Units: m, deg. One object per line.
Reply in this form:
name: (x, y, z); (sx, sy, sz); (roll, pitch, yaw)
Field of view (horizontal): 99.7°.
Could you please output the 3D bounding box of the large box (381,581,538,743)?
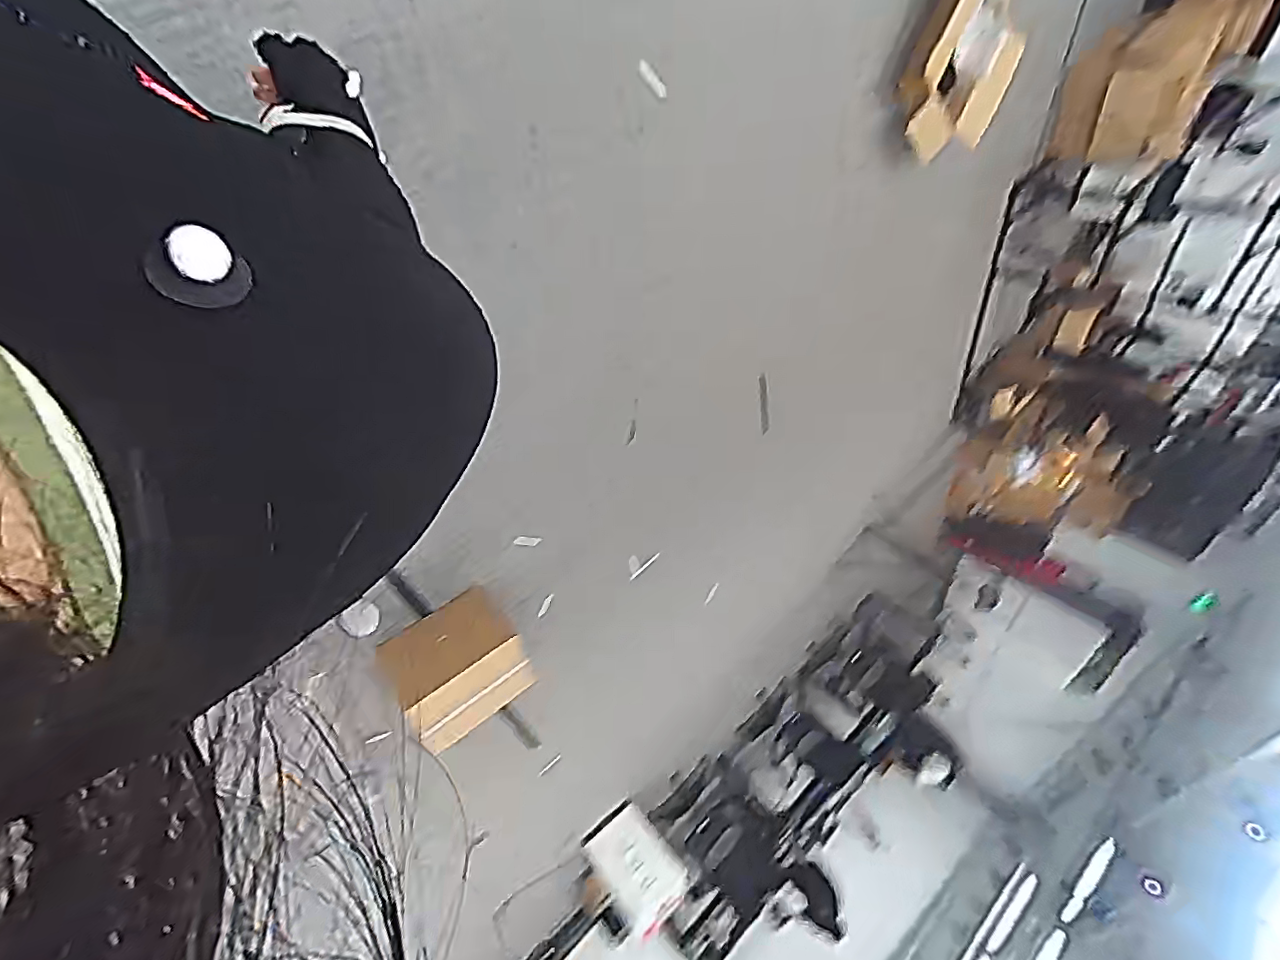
large box: (-0.648, 0.652, 1.981); (0.408, 0.320, 0.320); (-33, 136, -27)
